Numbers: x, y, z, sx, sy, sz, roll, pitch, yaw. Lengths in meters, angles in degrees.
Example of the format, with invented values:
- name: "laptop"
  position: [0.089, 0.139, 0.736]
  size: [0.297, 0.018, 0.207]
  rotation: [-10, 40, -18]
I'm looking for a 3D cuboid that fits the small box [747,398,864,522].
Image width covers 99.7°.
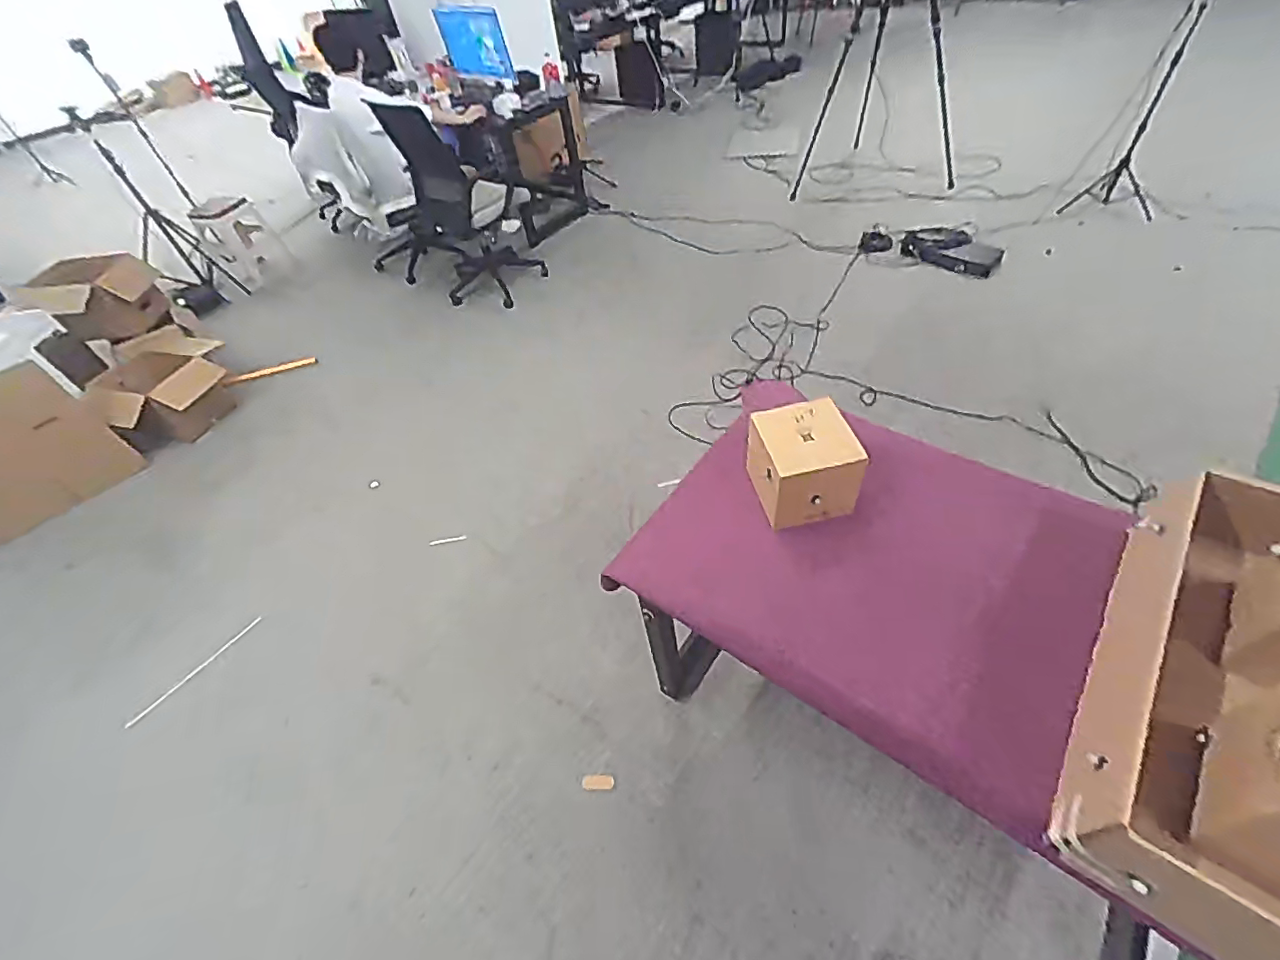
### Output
- name: "small box"
  position: [0.317, -0.032, 1.076]
  size: [0.168, 0.176, 0.179]
  rotation: [-11, 49, -3]
